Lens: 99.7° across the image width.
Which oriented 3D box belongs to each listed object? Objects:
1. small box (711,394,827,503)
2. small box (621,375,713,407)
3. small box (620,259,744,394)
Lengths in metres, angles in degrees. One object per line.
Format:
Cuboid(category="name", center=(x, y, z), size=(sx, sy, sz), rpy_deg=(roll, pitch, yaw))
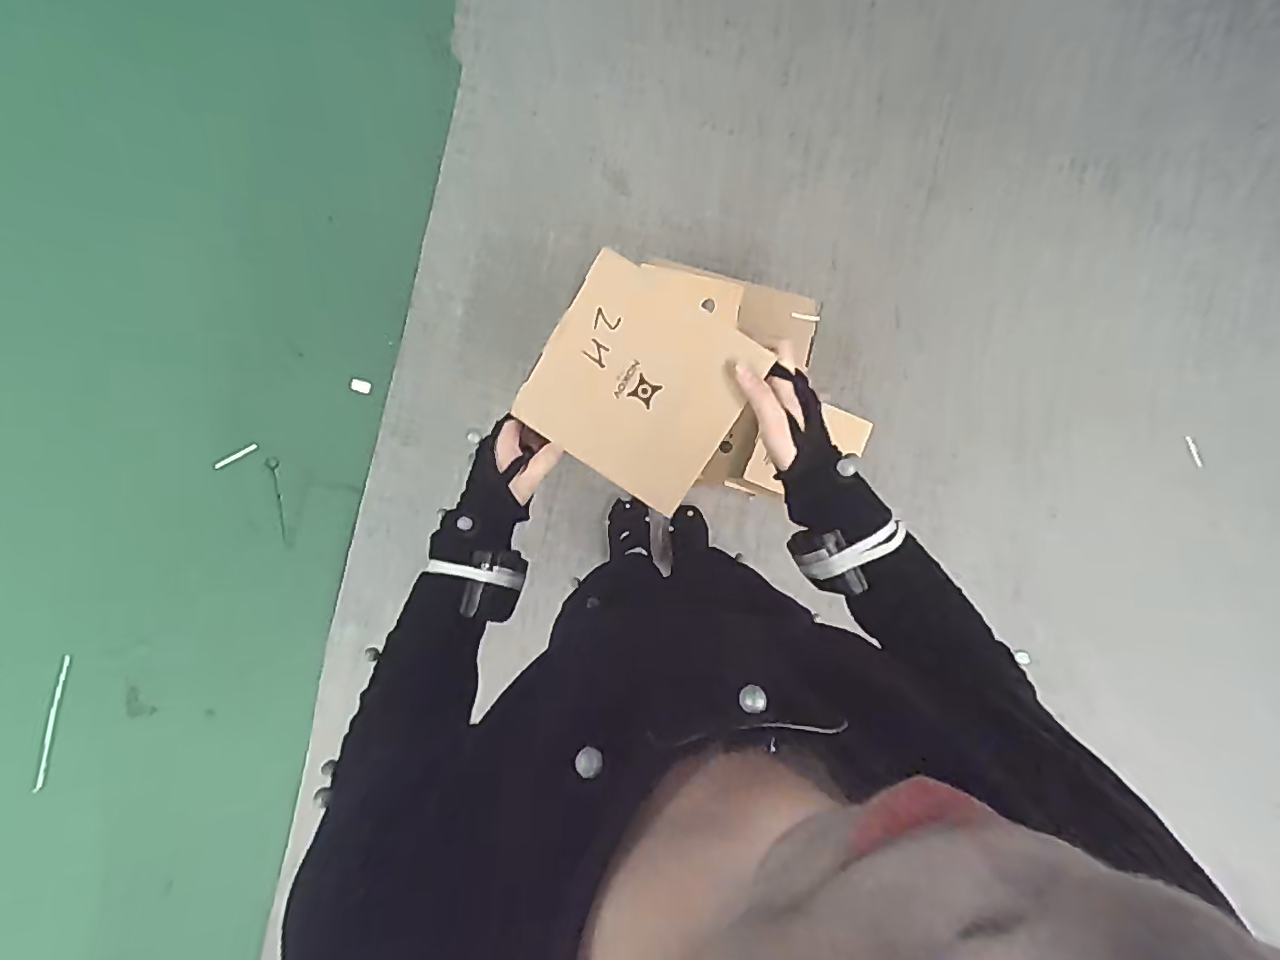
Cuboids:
Cuboid(category="small box", center=(0.256, -0.060, 1.120), size=(0.168, 0.176, 0.179), rpy_deg=(17, 89, -4))
Cuboid(category="small box", center=(0.061, -0.251, 1.110), size=(0.179, 0.176, 0.168), rpy_deg=(10, 88, -3))
Cuboid(category="small box", center=(0.064, -0.257, 0.947), size=(0.179, 0.176, 0.168), rpy_deg=(11, 88, -4))
